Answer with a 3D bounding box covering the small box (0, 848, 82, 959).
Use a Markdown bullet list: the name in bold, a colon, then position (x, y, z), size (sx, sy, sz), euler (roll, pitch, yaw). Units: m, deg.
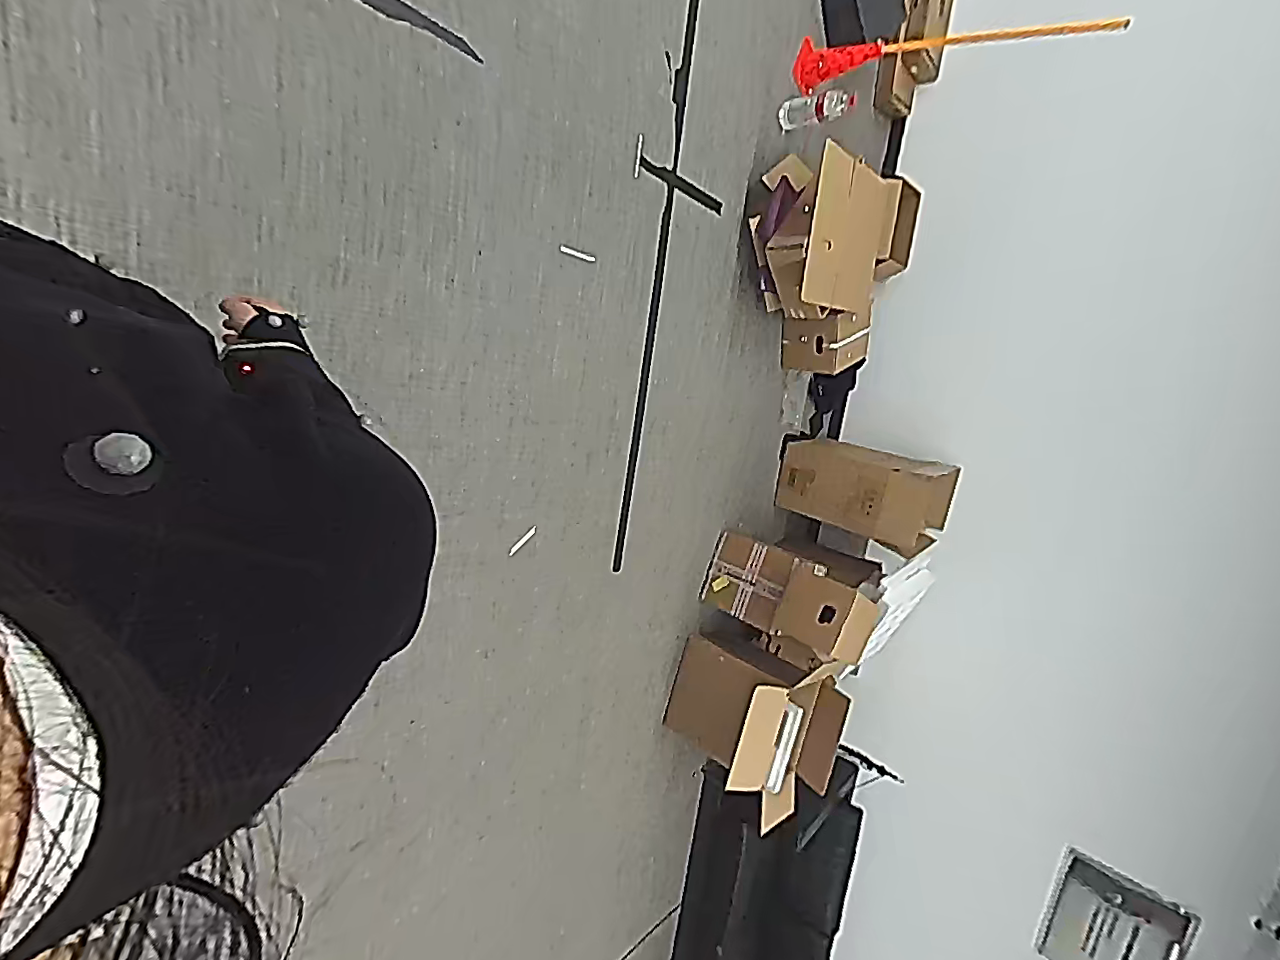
- **small box**: position (-0.773, 0.570, 0.622), size (0.168, 0.176, 0.179), euler (4, 101, -49)
